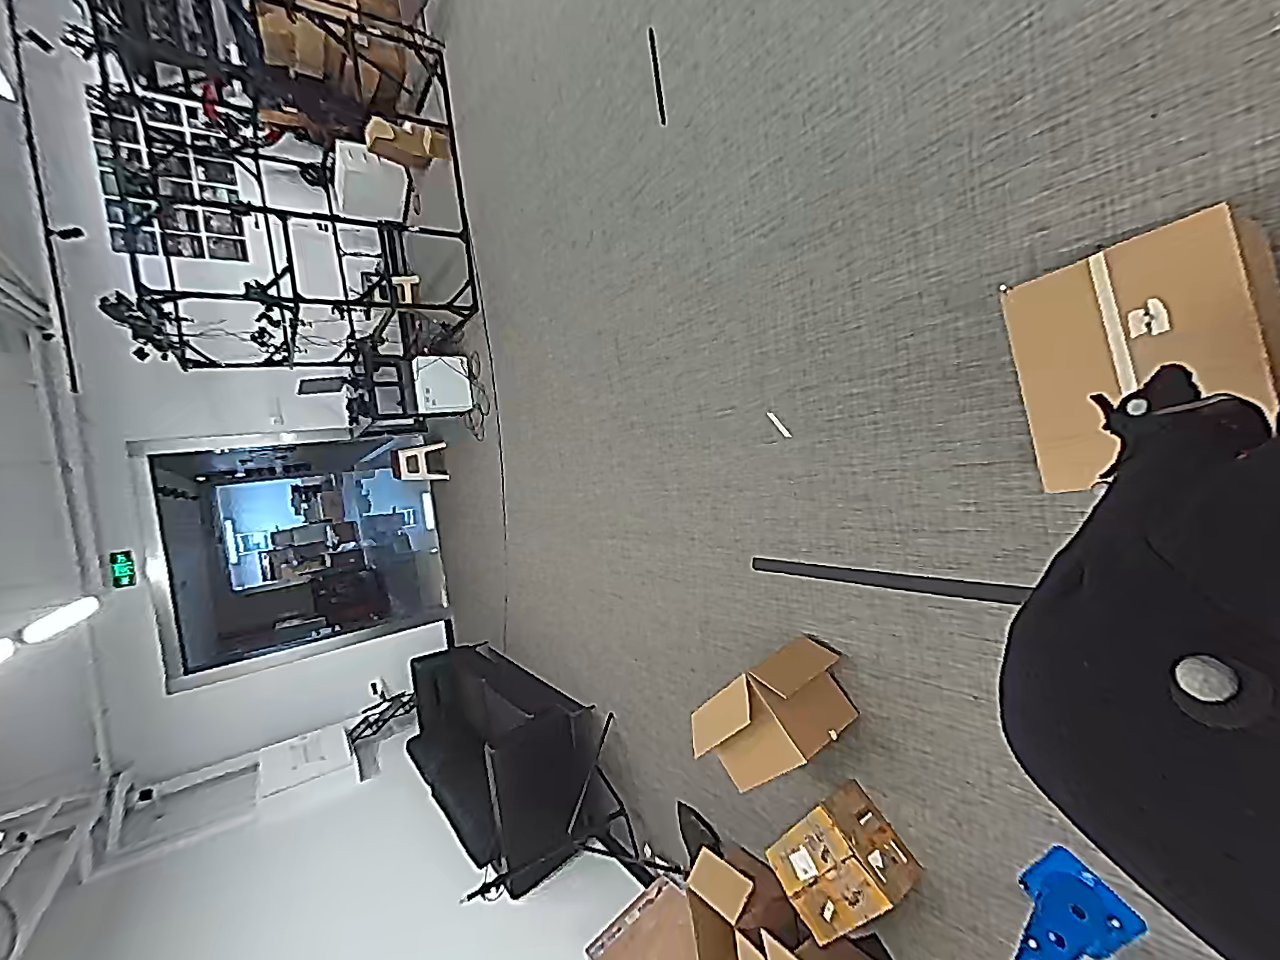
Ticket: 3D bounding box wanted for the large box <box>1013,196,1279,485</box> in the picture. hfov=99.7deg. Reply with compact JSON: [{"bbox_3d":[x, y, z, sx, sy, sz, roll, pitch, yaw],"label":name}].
[{"bbox_3d":[0.964,-0.222,0.987,0.320,0.320,0.408,-15,83,57],"label":"large box"}]
